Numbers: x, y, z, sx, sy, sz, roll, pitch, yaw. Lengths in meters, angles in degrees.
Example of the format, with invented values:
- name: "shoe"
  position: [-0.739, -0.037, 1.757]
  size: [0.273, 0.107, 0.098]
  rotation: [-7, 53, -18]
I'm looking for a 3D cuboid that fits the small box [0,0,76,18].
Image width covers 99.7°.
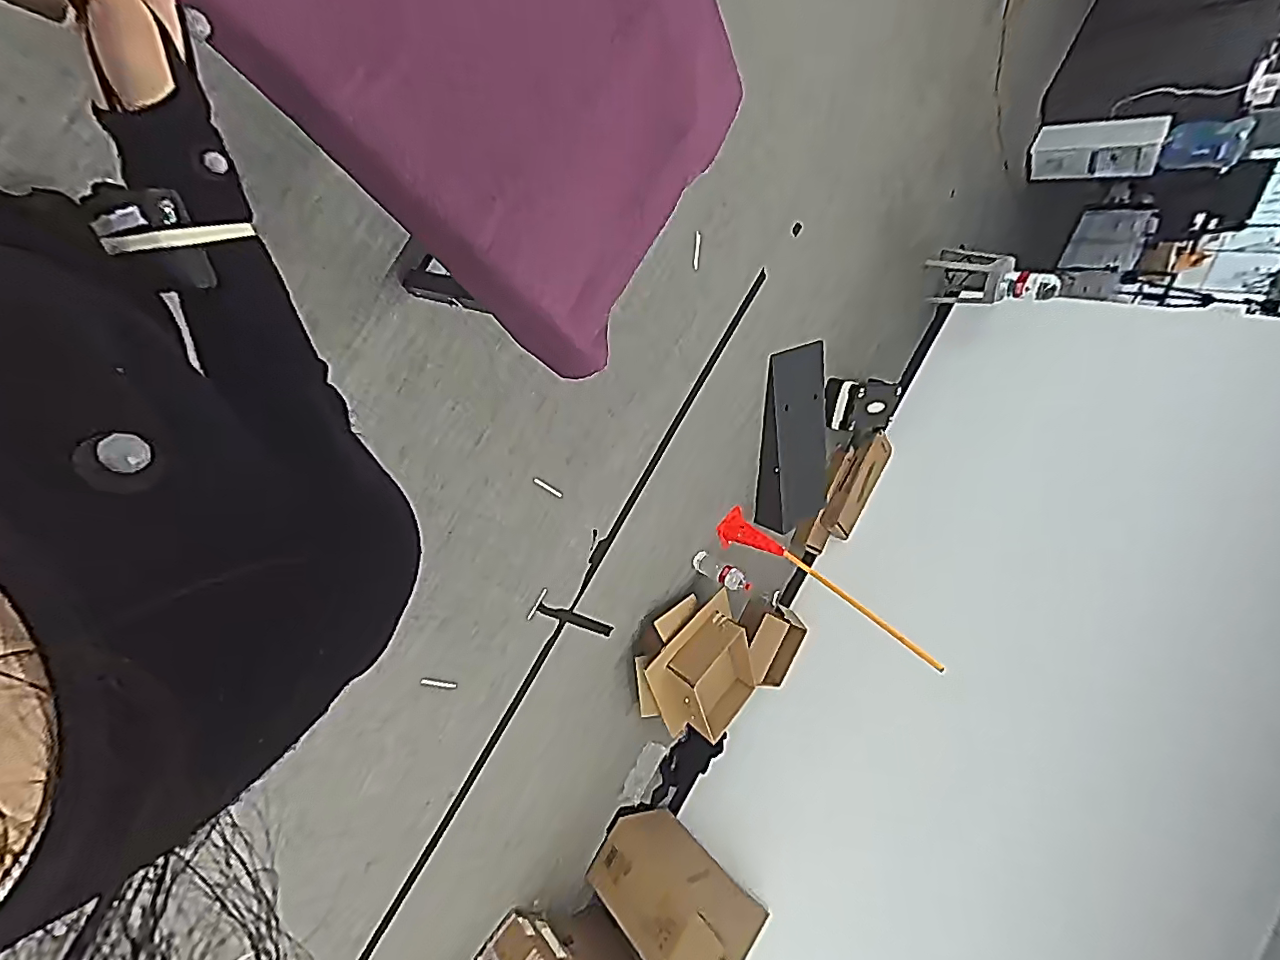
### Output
- name: "small box"
  position: [-0.344, -0.327, 0.212]
  size: [0.168, 0.176, 0.179]
  rotation: [-5, 118, -46]
